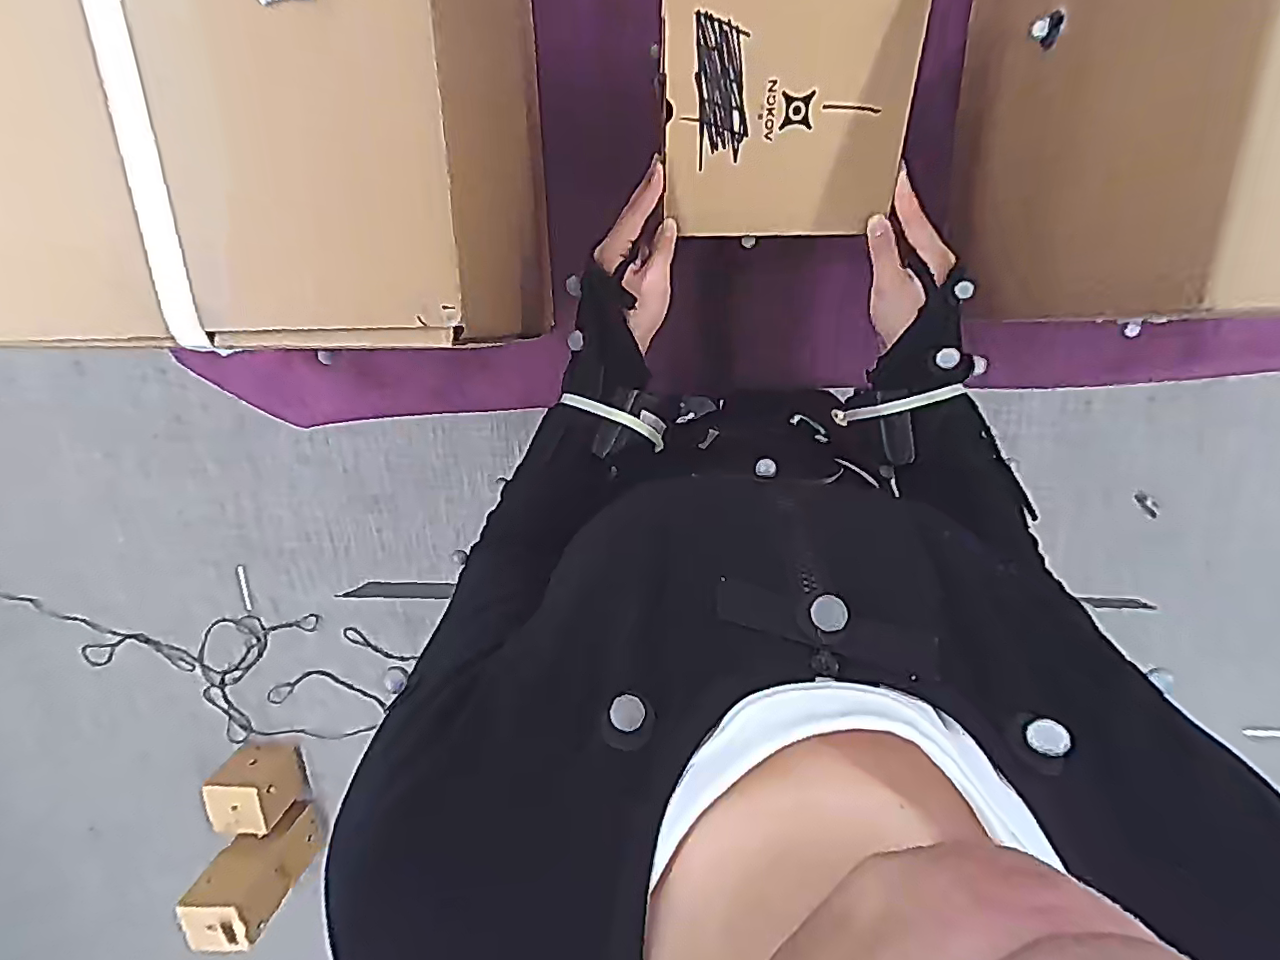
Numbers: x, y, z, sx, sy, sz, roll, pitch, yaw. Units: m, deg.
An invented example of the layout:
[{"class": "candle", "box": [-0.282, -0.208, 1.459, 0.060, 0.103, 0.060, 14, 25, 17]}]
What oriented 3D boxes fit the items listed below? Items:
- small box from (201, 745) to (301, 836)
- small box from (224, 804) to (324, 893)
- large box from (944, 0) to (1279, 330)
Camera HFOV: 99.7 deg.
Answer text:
[{"class": "small box", "box": [-1.167, 0.934, 1.636, 0.168, 0.176, 0.179, 2, 107, 3]}, {"class": "small box", "box": [-1.146, 1.156, 1.704, 0.179, 0.176, 0.168, -7, 106, 4]}, {"class": "large box", "box": [0.448, -0.317, 0.365, 0.320, 0.320, 0.408, -1, 104, 3]}]
